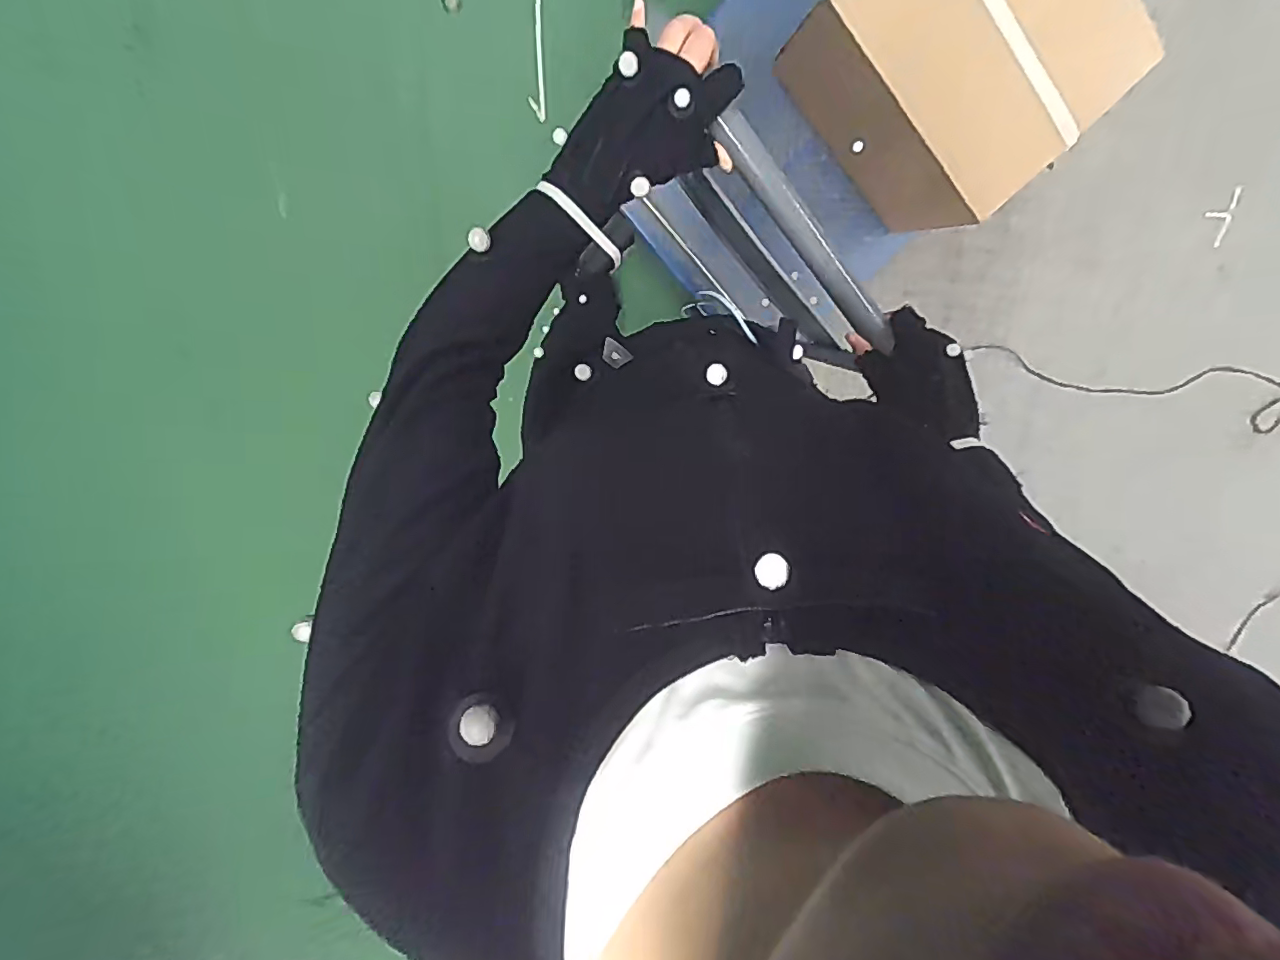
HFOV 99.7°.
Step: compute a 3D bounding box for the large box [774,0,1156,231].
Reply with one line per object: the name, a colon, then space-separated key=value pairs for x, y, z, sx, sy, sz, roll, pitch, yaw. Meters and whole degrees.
large box: x=0.493 y=-0.686 z=0.897 sx=0.320 sy=0.320 sz=0.408 roll=-43 pitch=106 yaw=14
